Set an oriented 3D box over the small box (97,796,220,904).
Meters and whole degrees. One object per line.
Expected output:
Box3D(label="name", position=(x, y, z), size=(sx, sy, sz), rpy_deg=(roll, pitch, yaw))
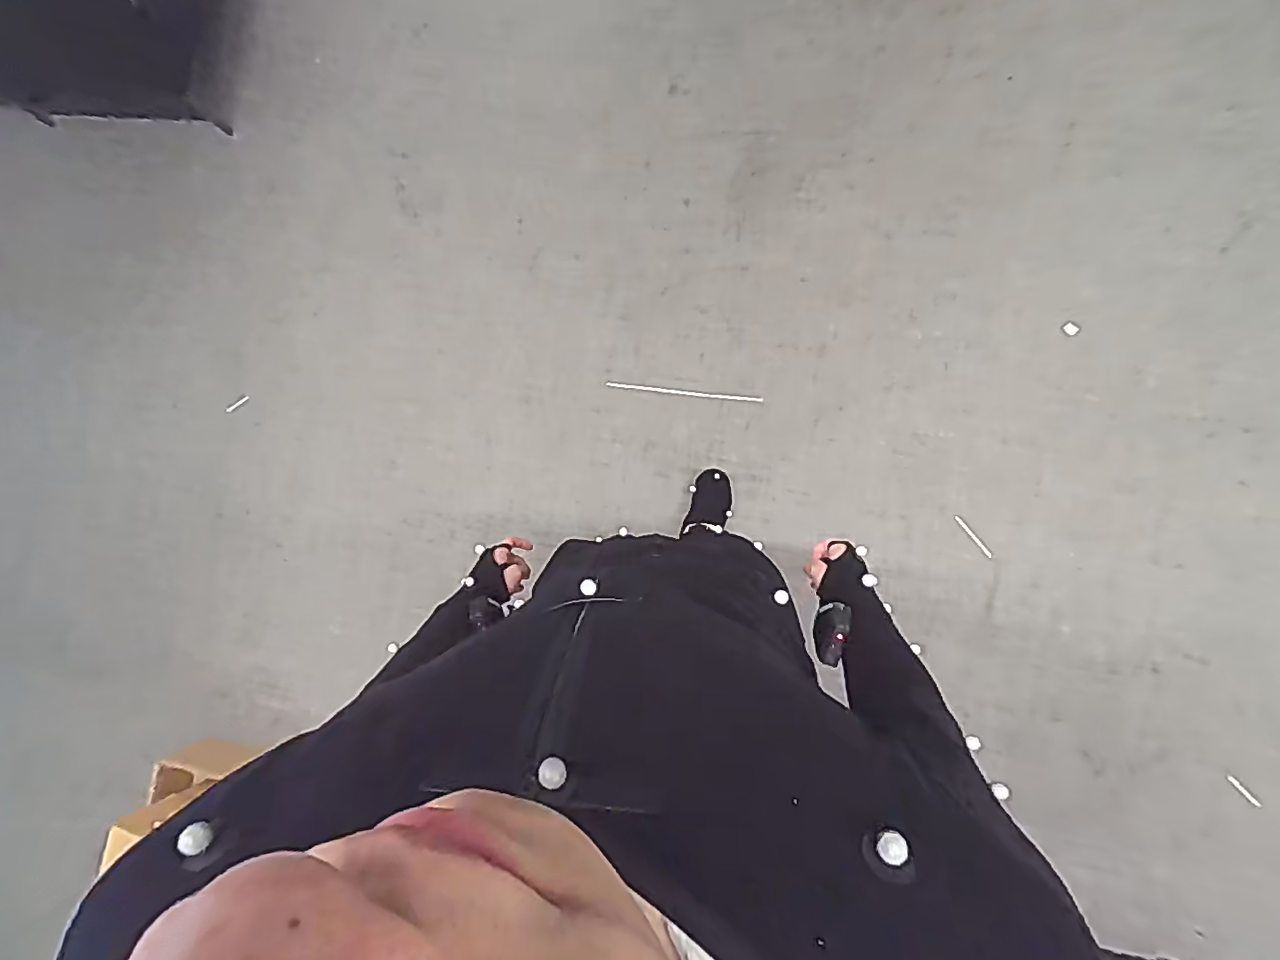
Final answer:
Box3D(label="small box", position=(-1.337, 1.021, 1.512), size=(0.179, 0.176, 0.168), rpy_deg=(14, 89, 8))
